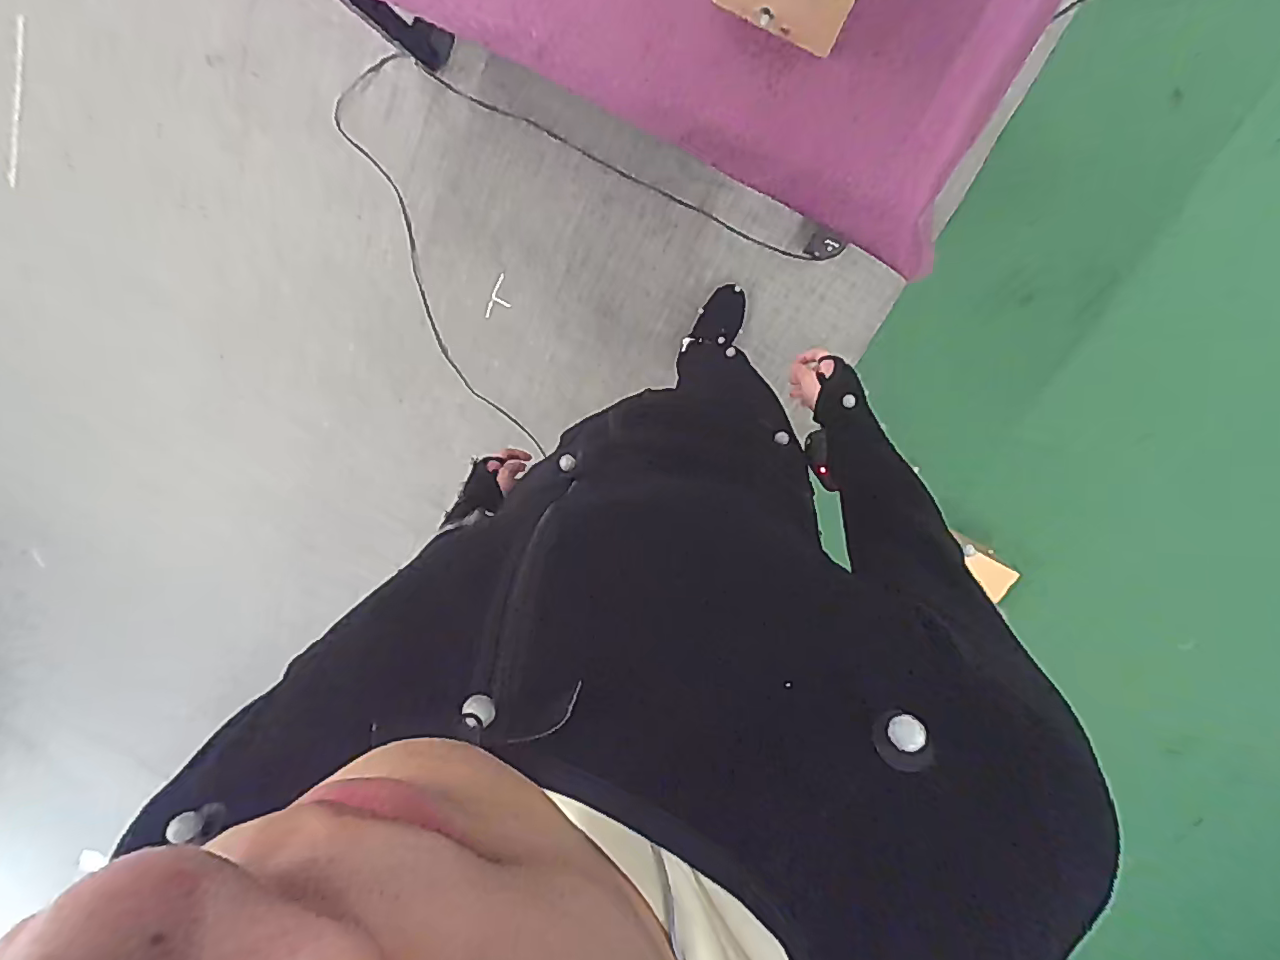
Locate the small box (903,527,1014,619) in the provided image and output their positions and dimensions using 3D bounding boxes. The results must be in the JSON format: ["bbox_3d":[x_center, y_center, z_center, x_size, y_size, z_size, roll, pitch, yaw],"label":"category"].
[{"bbox_3d":[0.879,0.250,1.515,0.179,0.176,0.168,27,107,-2],"label":"small box"}]
